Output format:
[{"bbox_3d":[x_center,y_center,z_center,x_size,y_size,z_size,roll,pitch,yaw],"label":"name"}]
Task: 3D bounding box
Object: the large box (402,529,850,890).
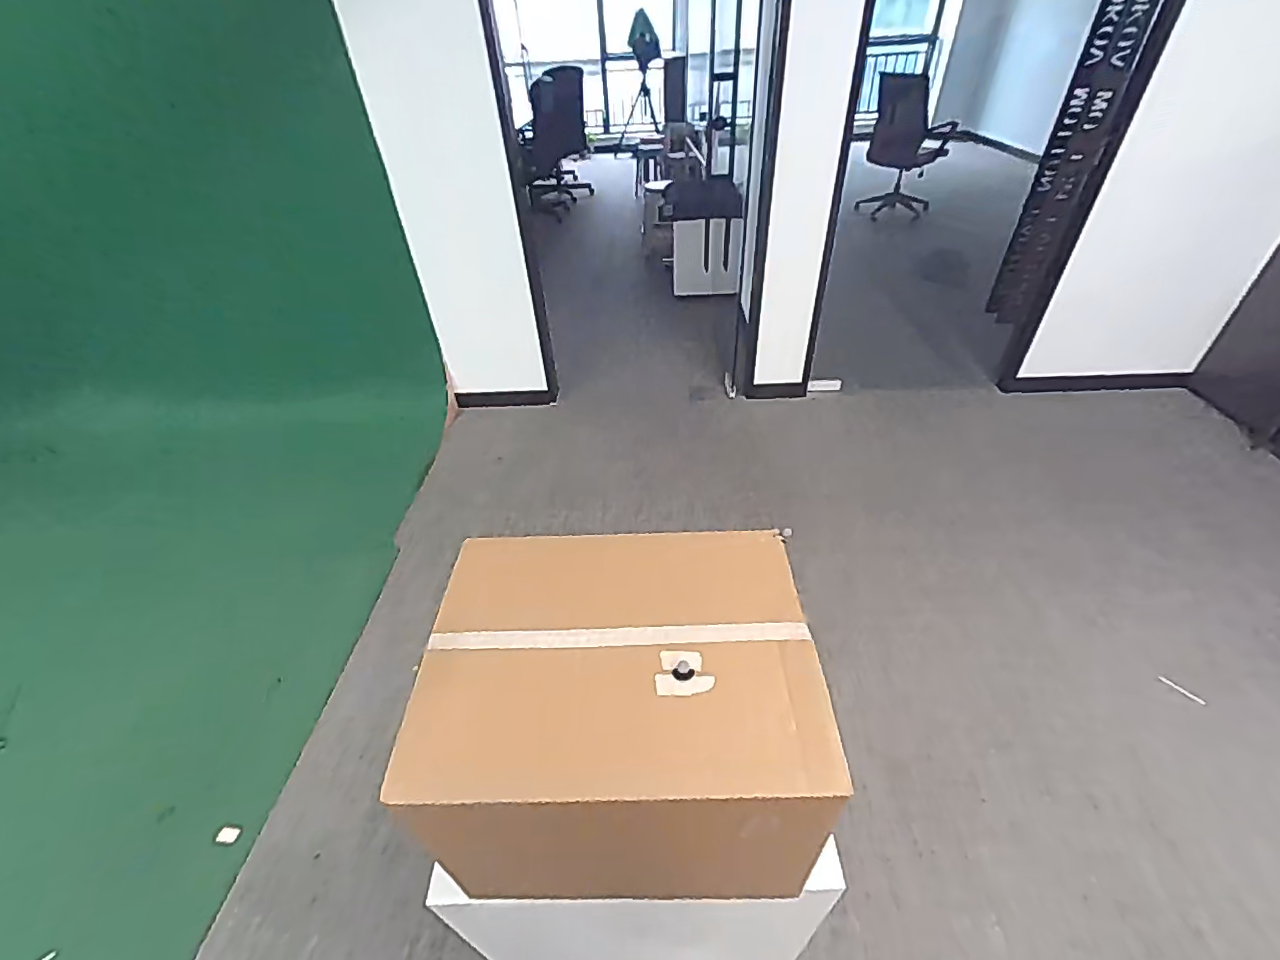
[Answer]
[{"bbox_3d":[-0.013,0.281,0.678,0.408,0.320,0.320,-1,41,0],"label":"large box"}]
